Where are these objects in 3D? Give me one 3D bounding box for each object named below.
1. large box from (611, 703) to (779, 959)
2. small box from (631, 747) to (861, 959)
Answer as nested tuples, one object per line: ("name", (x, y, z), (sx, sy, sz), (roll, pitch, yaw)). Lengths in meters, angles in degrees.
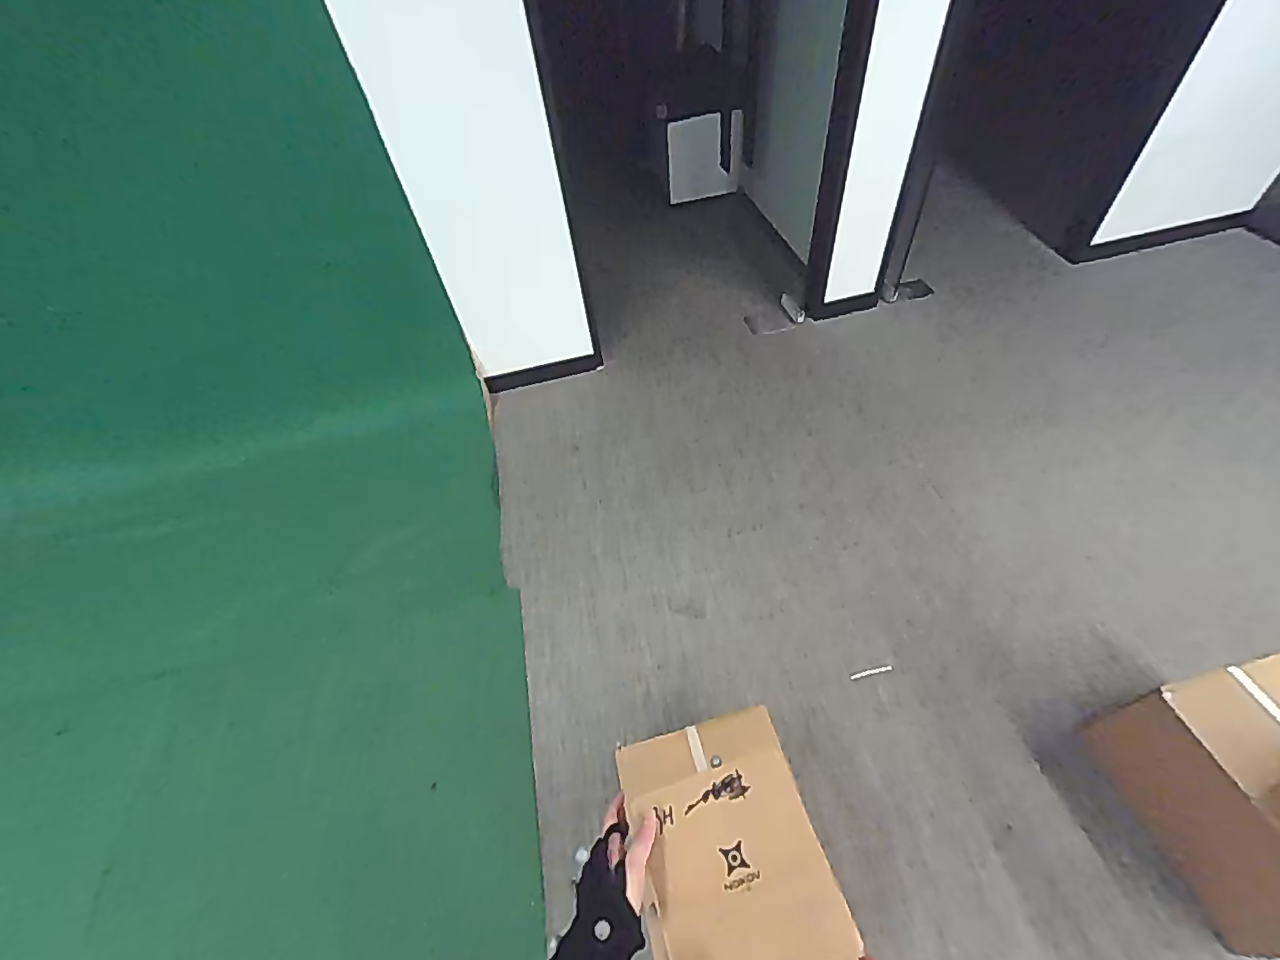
("large box", (0.157, 0.721, 1.054), (0.320, 0.320, 0.408), (-14, 50, -4))
("small box", (0.100, 0.414, 0.569), (0.168, 0.176, 0.179), (-17, 51, -6))
